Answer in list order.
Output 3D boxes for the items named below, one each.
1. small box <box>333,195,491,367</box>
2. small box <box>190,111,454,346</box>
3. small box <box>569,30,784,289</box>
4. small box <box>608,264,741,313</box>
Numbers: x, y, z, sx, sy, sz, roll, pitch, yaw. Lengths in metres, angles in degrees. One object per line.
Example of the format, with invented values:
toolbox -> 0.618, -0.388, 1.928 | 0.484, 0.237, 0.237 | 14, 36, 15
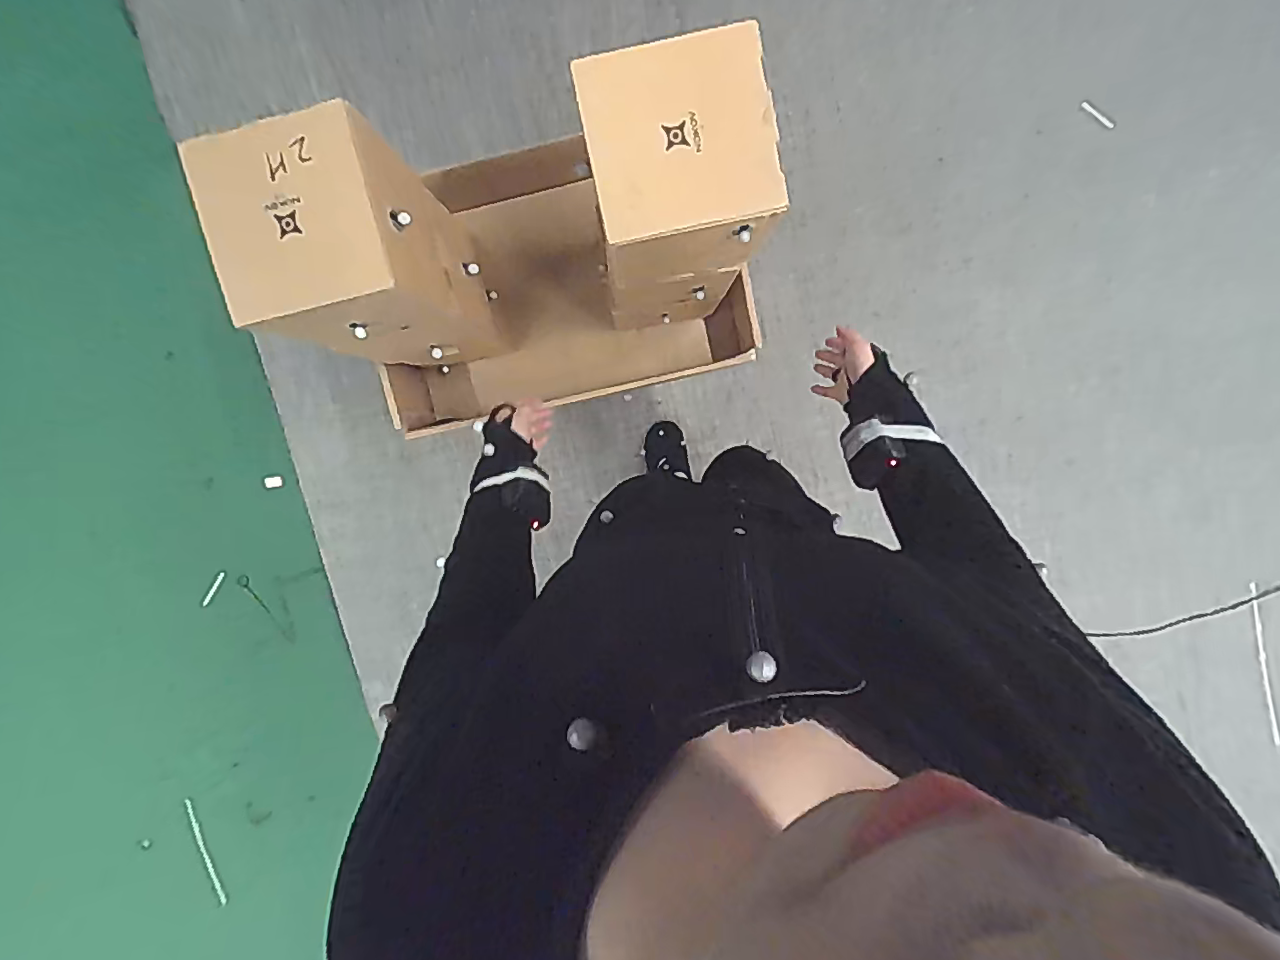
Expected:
small box -> -0.324, -0.265, 0.760 | 0.179, 0.176, 0.168 | -14, 95, 3
small box -> -0.326, -0.253, 0.594 | 0.168, 0.176, 0.179 | -12, 95, 3
small box -> 0.036, -0.319, 0.578 | 0.179, 0.176, 0.168 | -12, 95, 1
small box -> 0.037, -0.336, 0.739 | 0.168, 0.176, 0.179 | -7, 94, 1
